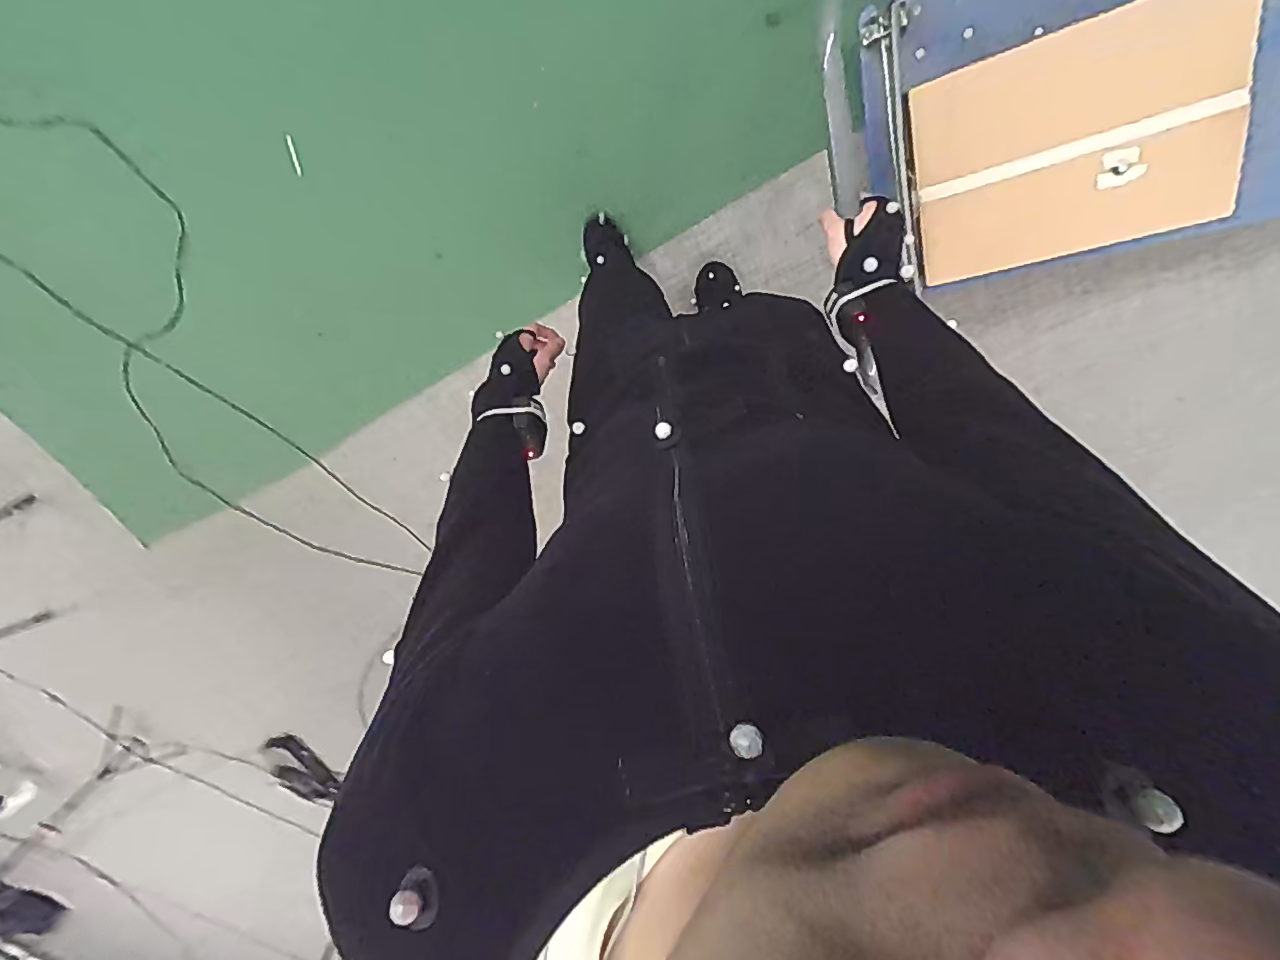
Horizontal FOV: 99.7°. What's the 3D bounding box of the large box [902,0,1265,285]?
[{"bbox_3d":[0.696,-0.574,0.933,0.408,0.320,0.320,-7,119,26],"label":"large box"}]
